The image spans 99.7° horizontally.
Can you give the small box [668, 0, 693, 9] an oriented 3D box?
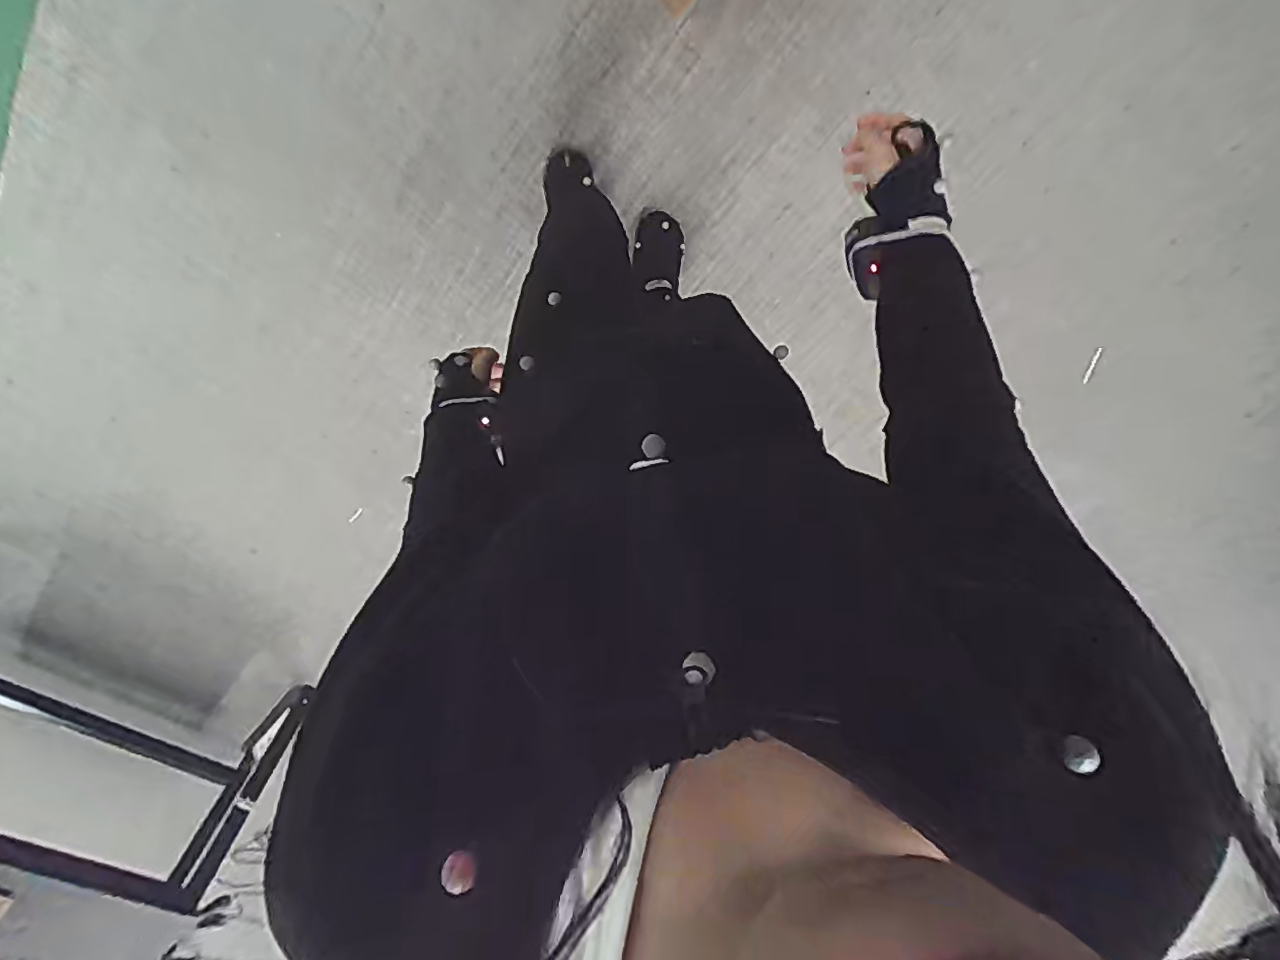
[{"bbox_3d":[0.071,-0.974,0.941,0.179,0.176,0.168,35,115,-19],"label":"small box"}]
